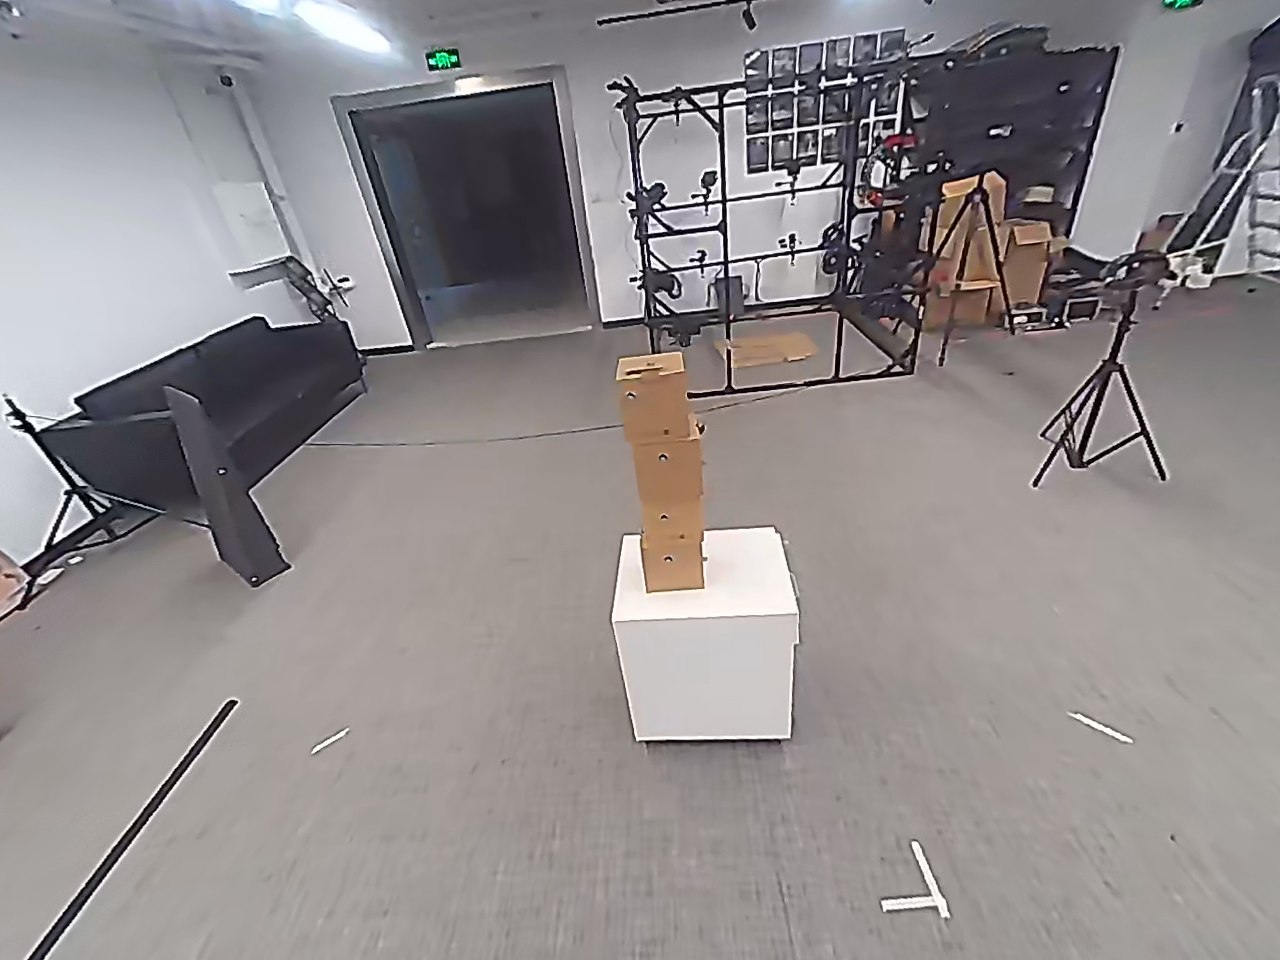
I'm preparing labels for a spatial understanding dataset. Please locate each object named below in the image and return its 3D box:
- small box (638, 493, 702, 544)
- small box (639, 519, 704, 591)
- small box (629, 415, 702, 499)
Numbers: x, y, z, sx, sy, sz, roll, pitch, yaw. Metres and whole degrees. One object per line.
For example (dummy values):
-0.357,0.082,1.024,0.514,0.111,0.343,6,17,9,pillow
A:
0.089,0.072,1.551,0.168,0.176,0.179,-5,30,5,small box
0.094,0.219,1.622,0.179,0.176,0.168,-5,31,4,small box
0.070,-0.060,1.452,0.179,0.176,0.168,-5,31,5,small box
